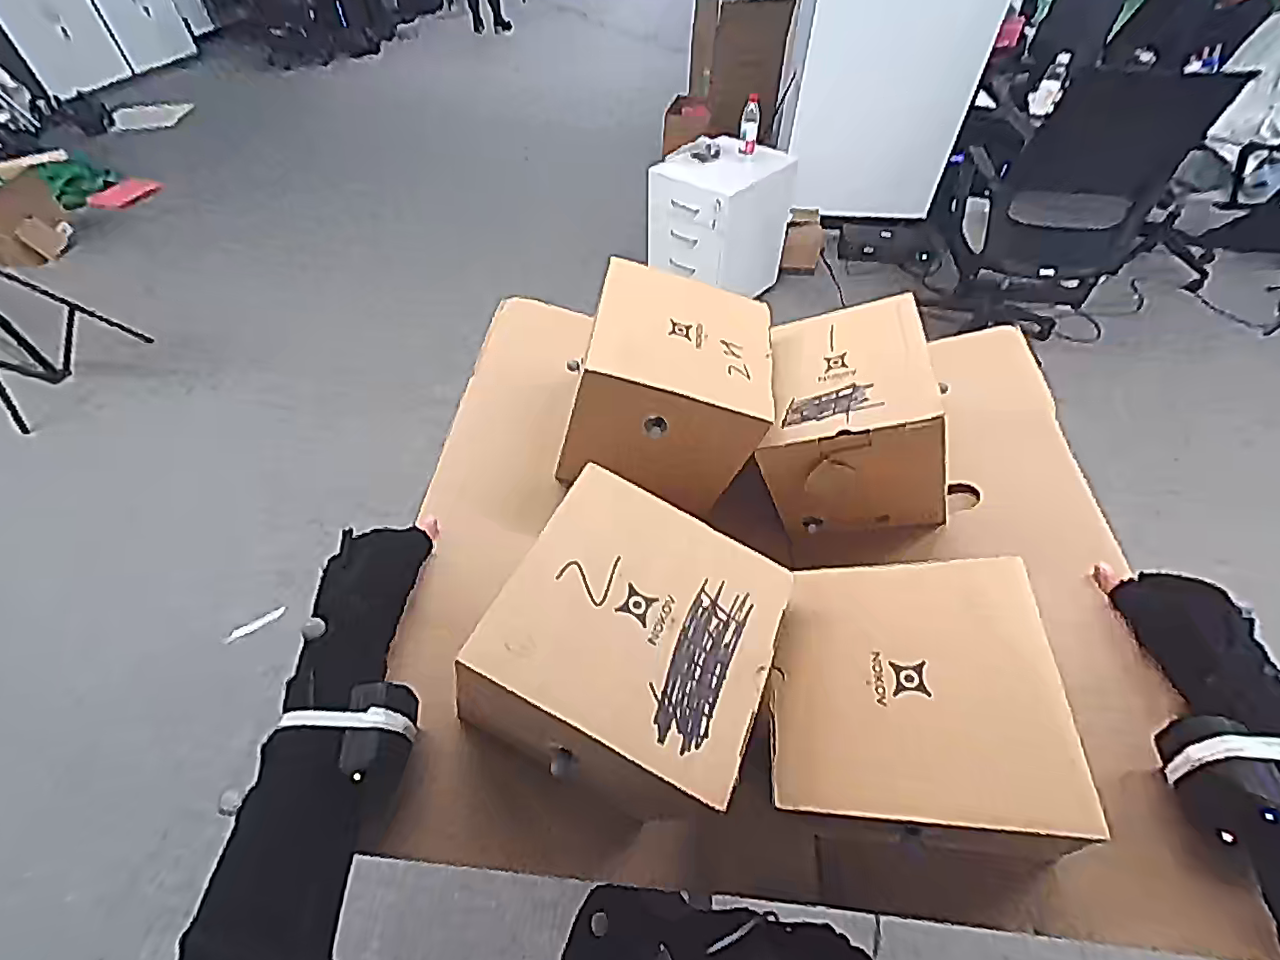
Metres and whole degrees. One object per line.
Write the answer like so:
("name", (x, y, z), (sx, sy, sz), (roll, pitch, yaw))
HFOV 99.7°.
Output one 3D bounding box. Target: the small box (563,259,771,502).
("small box", (0.024, -0.096, 0.581), (0.179, 0.176, 0.168), (15, 55, -9))
